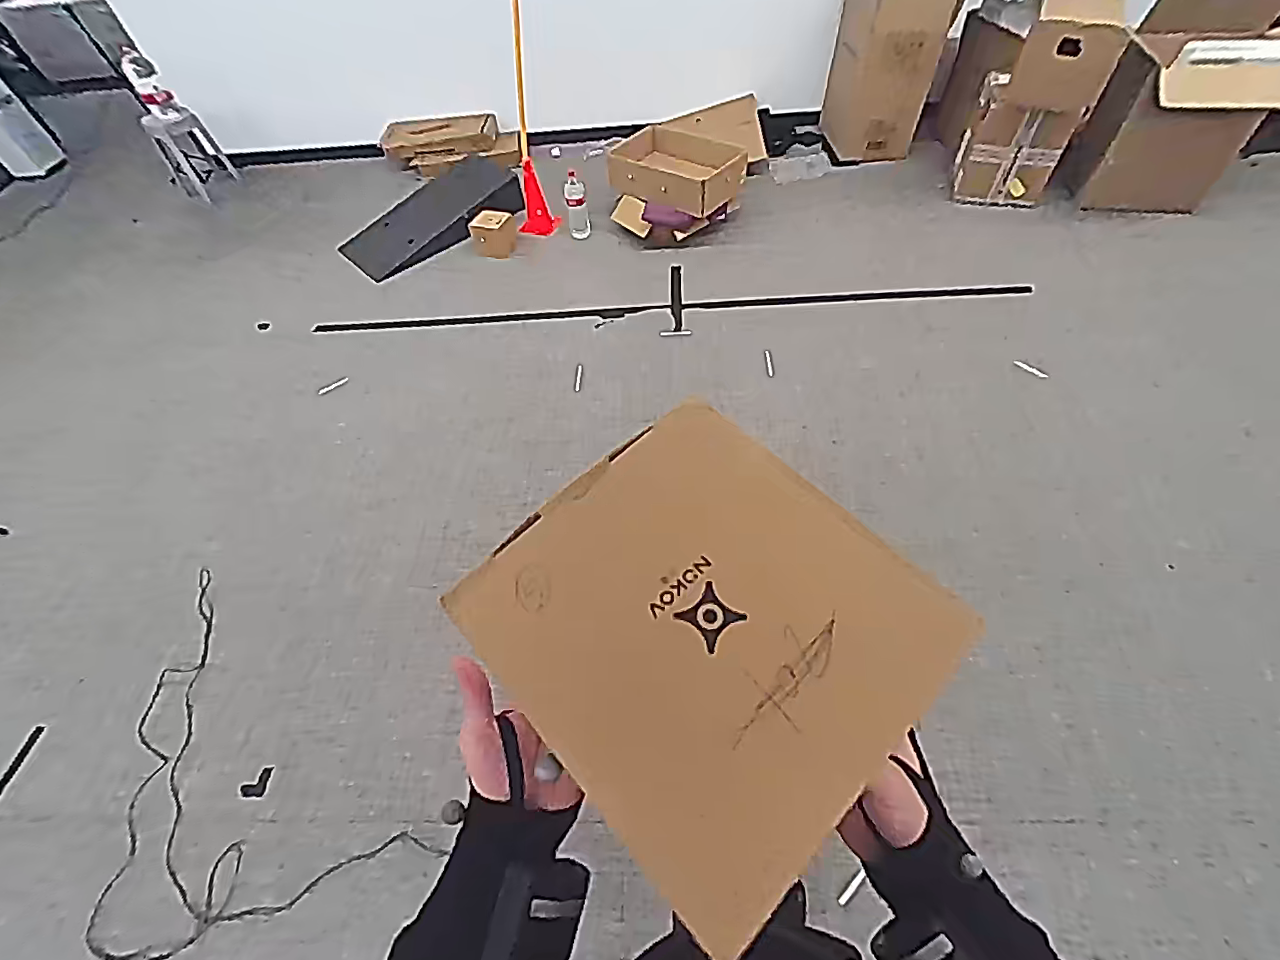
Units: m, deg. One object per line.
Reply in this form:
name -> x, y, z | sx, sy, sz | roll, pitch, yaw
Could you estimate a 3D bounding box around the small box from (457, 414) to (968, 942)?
small box -> 0.032, 0.102, 0.315 | 0.168, 0.176, 0.179 | -42, 67, -18
